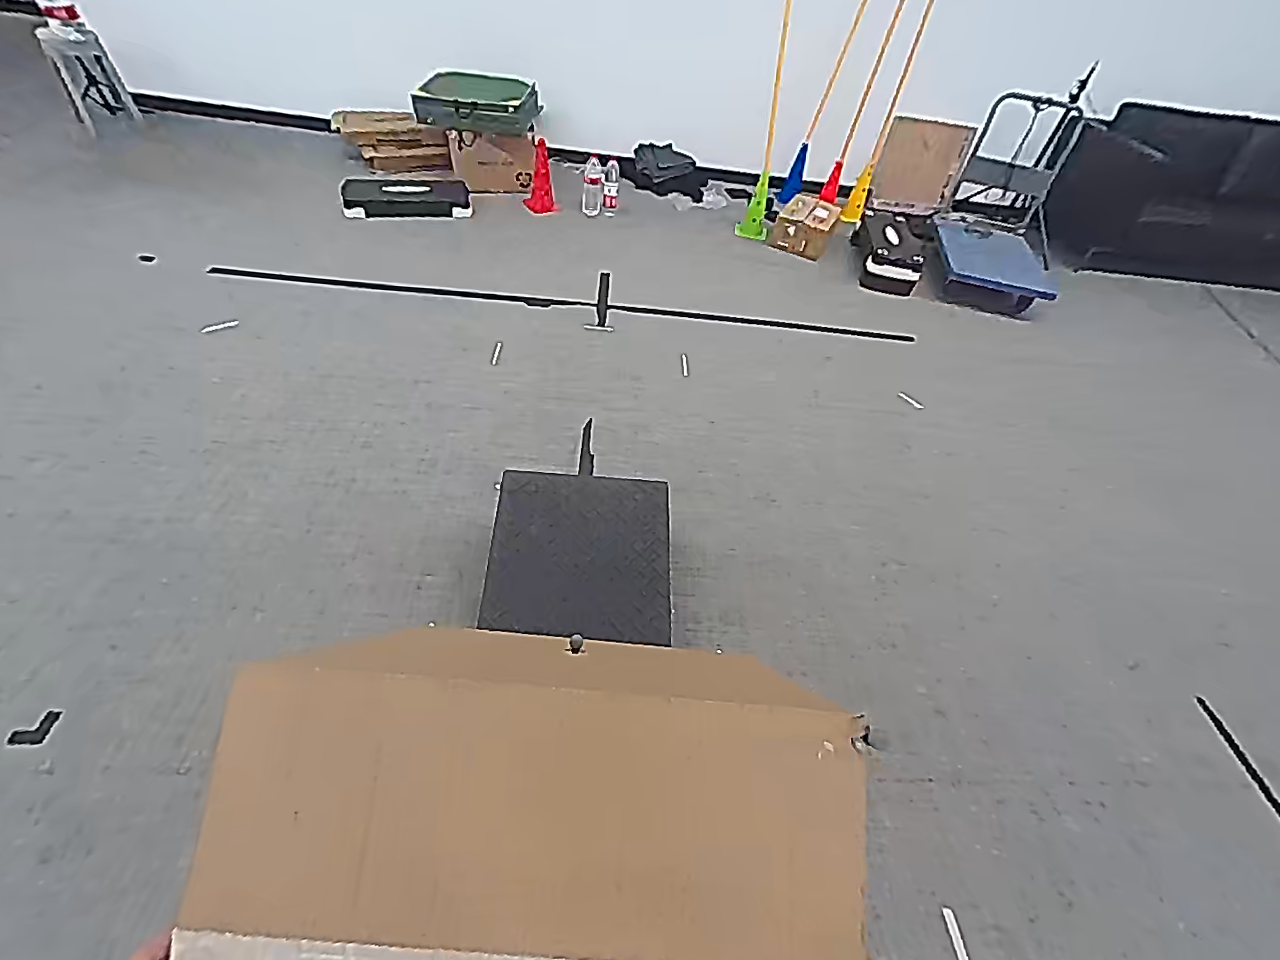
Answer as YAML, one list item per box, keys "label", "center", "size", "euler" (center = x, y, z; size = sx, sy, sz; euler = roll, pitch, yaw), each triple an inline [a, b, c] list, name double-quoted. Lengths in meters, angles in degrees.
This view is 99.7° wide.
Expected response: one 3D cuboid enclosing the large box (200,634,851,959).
- label: "large box"
  center: [-0.074, 0.316, 0.480]
  size: [0.408, 0.320, 0.320]
  euler: [5, 80, -2]
